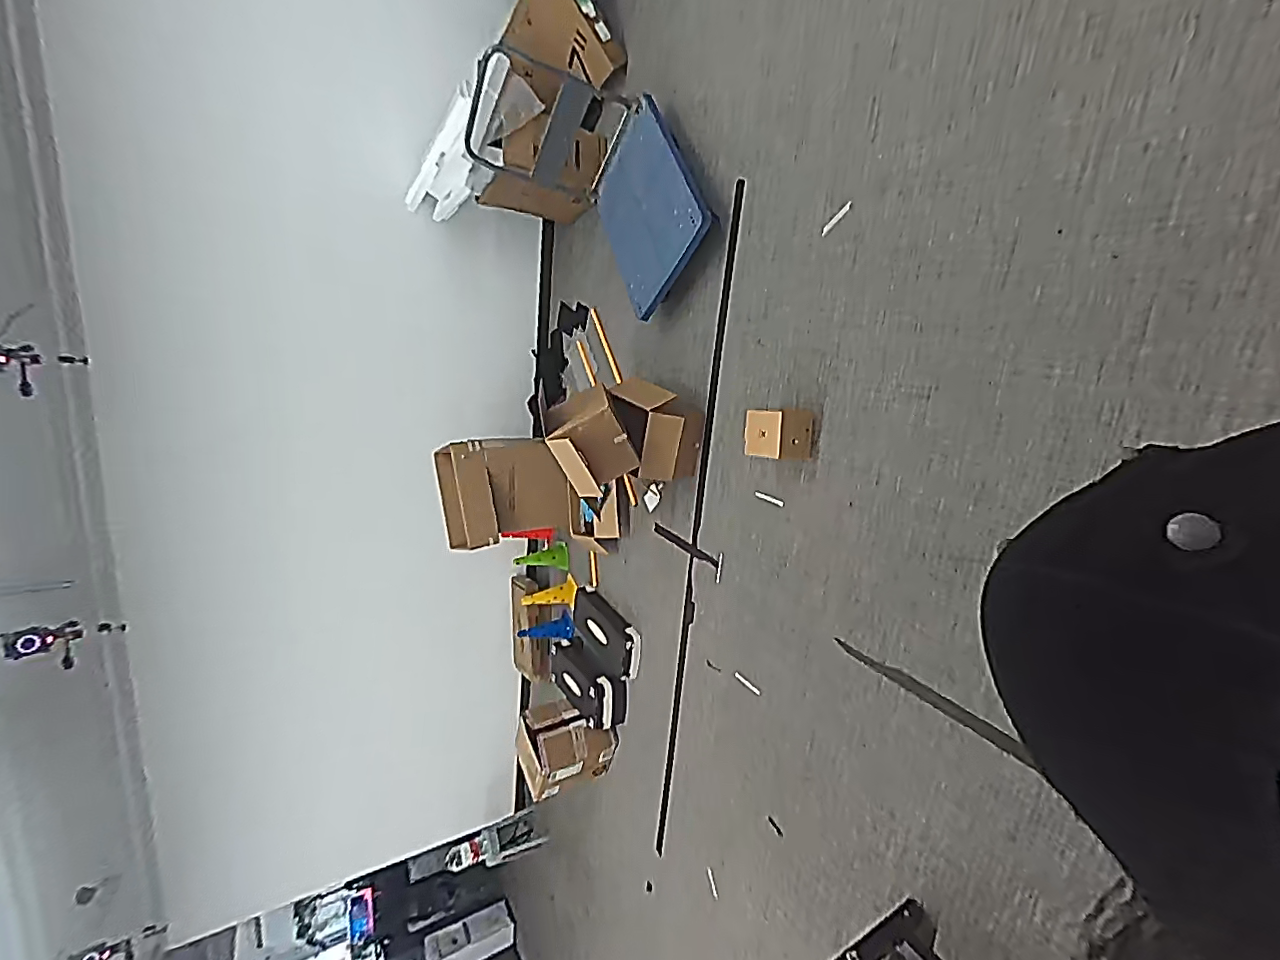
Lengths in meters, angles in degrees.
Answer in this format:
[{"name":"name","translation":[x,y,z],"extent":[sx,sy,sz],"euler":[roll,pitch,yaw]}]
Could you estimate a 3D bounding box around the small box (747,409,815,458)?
[{"name":"small box","translation":[0.511,-0.172,1.953],"extent":[0.179,0.176,0.168],"euler":[14,105,57]}]
